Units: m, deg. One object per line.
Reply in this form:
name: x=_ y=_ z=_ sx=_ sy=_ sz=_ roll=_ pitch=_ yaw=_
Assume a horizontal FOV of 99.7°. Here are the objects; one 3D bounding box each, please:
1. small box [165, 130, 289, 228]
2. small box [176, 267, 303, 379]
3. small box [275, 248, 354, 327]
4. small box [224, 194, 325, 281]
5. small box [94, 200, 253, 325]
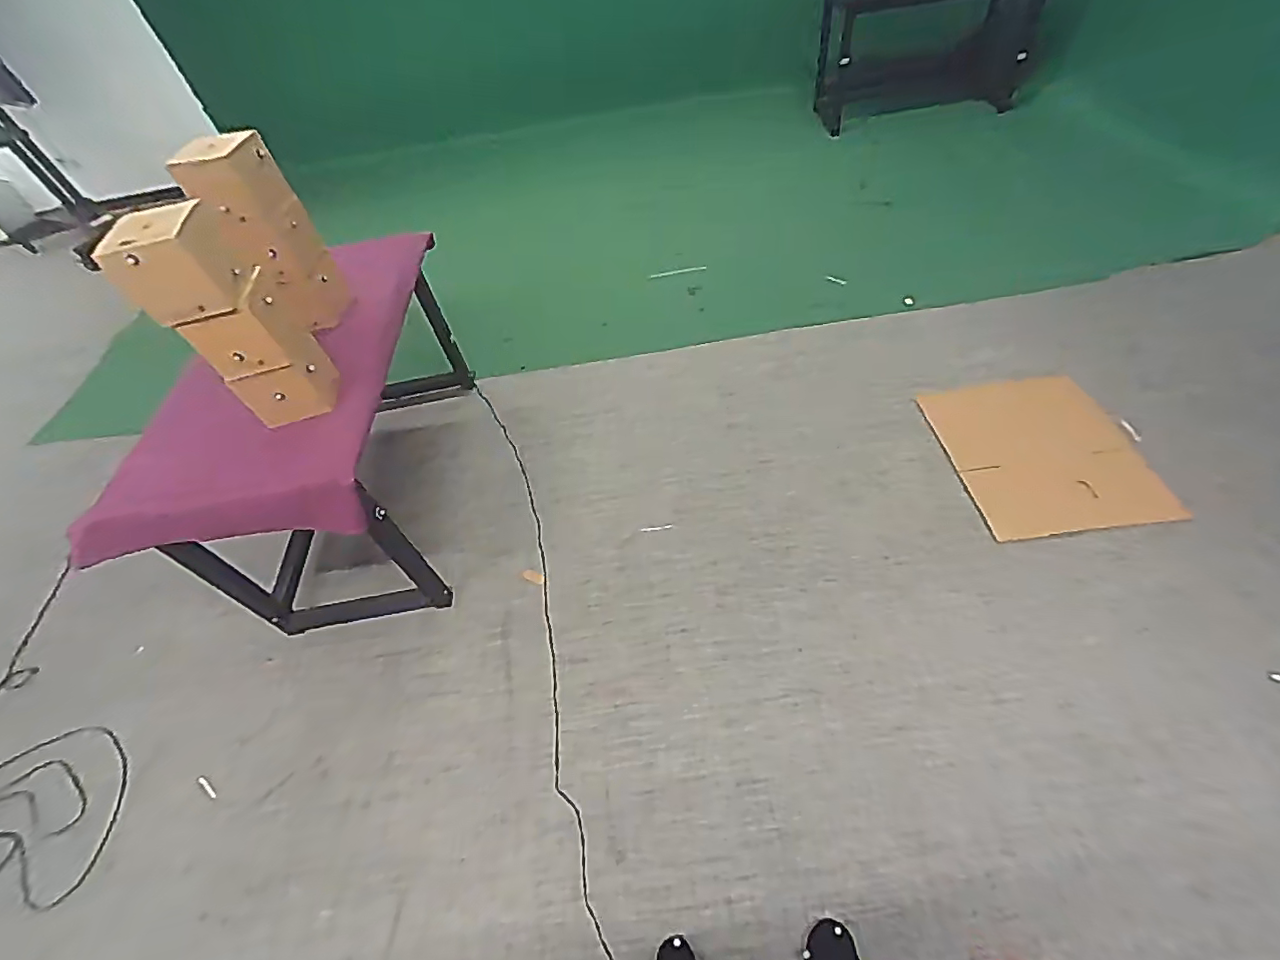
small box: x=-1.069 y=-0.789 z=1.423 sx=0.168 sy=0.176 sz=0.179 roll=-5 pitch=52 yaw=5
small box: x=-0.935 y=-0.370 z=1.282 sx=0.168 sy=0.176 sz=0.179 roll=-15 pitch=52 yaw=-2
small box: x=-1.029 y=-0.590 z=1.681 sx=0.168 sy=0.176 sz=0.179 roll=-4 pitch=51 yaw=6
small box: x=-1.046 y=-0.689 z=1.553 sx=0.168 sy=0.176 sz=0.179 roll=-4 pitch=52 yaw=5
small box: x=-0.971 y=-0.459 z=1.148 sx=0.168 sy=0.176 sz=0.179 roll=-15 pitch=51 yaw=-1
